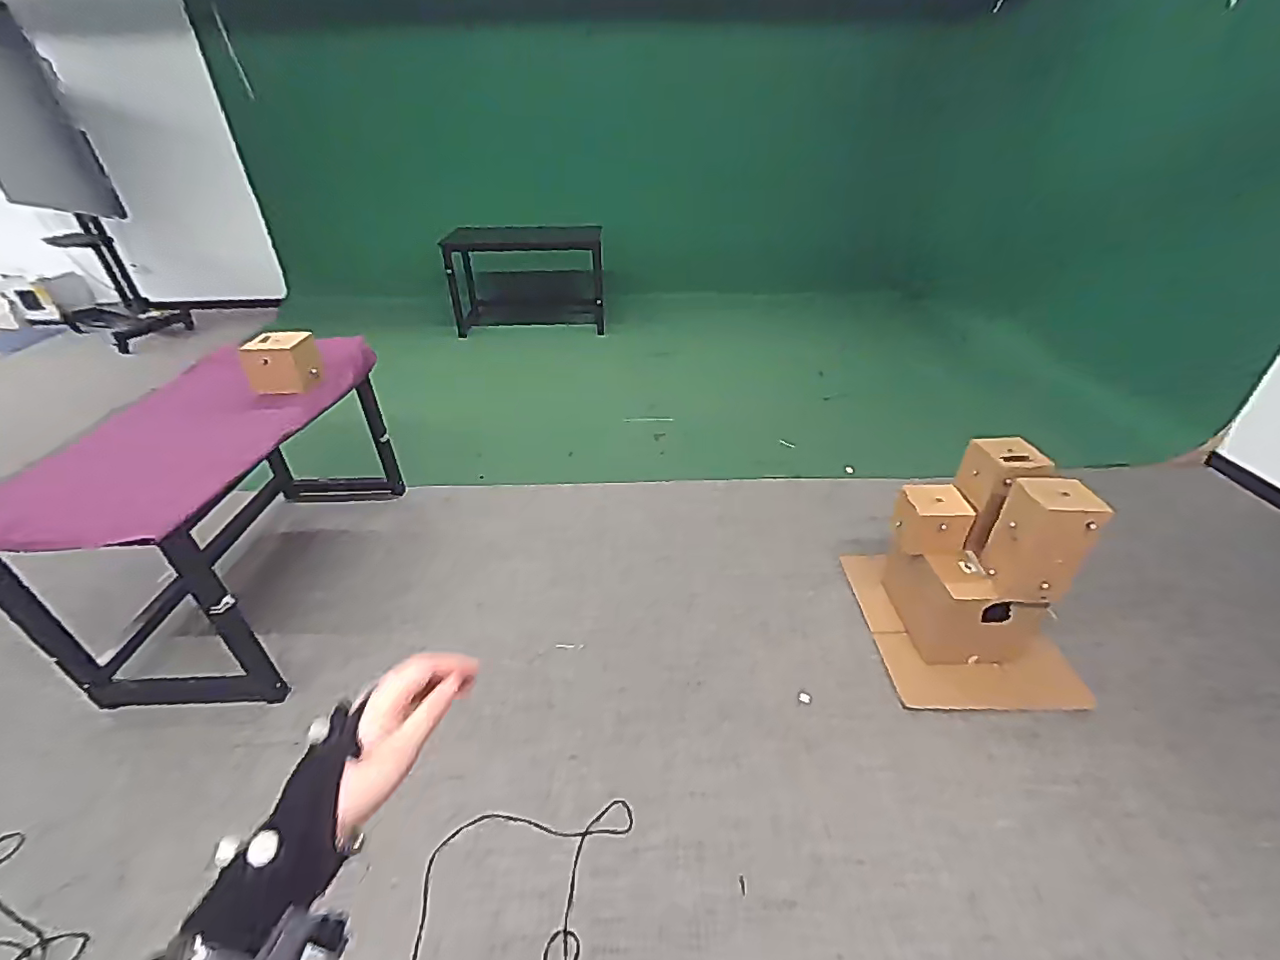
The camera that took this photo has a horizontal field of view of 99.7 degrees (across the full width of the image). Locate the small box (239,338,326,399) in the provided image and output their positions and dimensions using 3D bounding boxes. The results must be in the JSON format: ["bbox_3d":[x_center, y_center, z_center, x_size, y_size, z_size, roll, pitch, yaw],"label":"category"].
[{"bbox_3d":[-1.269,-0.398,1.933,0.179,0.176,0.168,-1,34,-1],"label":"small box"}]

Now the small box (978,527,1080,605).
[{"bbox_3d":[1.163,0.259,1.631,0.168,0.176,0.179,1,31,2],"label":"small box"}]

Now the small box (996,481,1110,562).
[{"bbox_3d":[1.163,0.119,1.539,0.179,0.176,0.168,1,31,3],"label":"small box"}]
